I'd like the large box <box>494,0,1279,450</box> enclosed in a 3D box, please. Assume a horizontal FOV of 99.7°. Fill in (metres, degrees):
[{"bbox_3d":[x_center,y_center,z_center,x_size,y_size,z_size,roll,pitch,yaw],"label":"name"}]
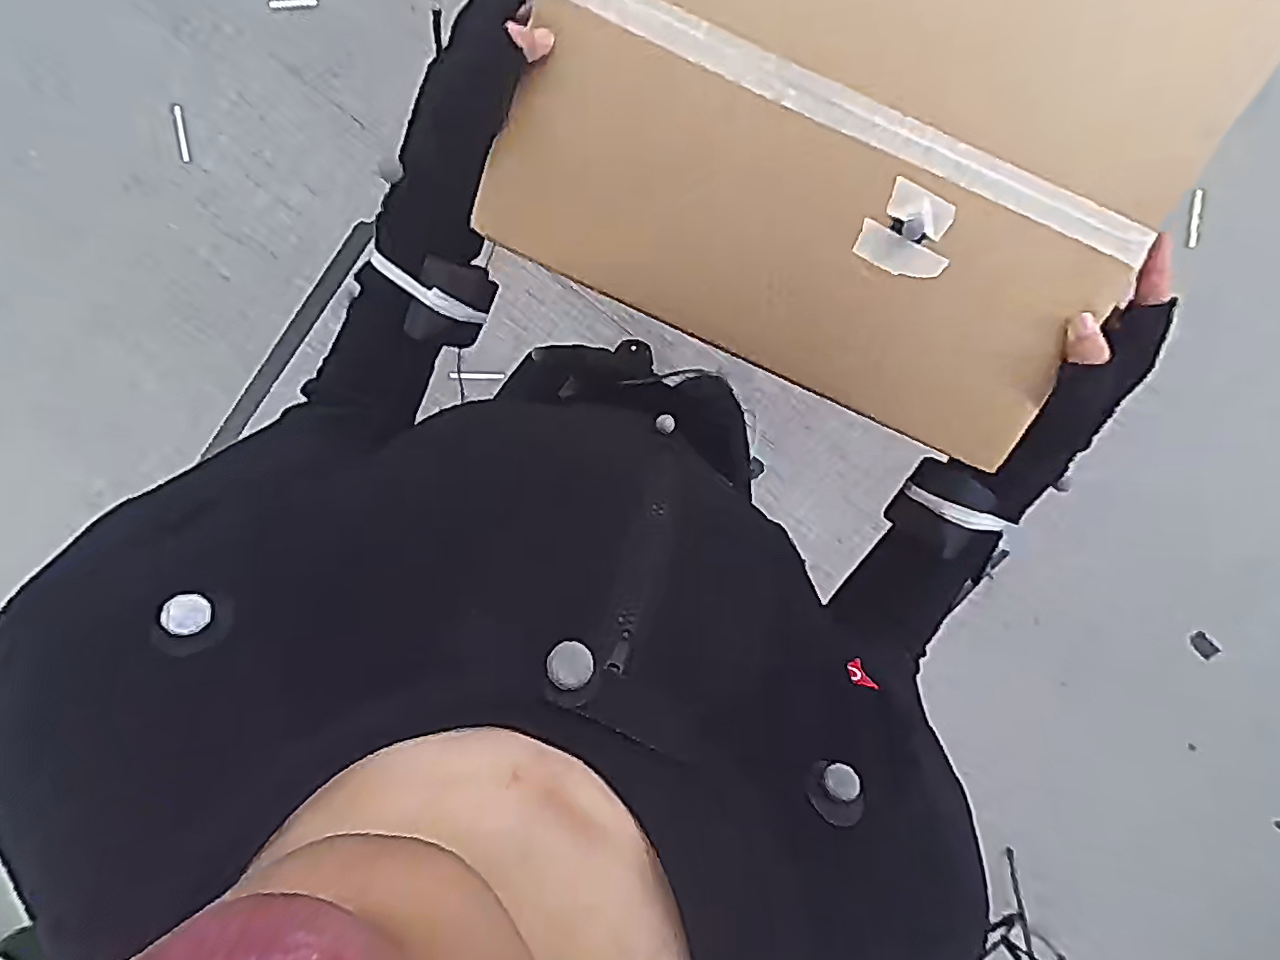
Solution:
[{"bbox_3d":[0.148,-0.275,0.483,0.408,0.320,0.320,25,109,-2],"label":"large box"}]
